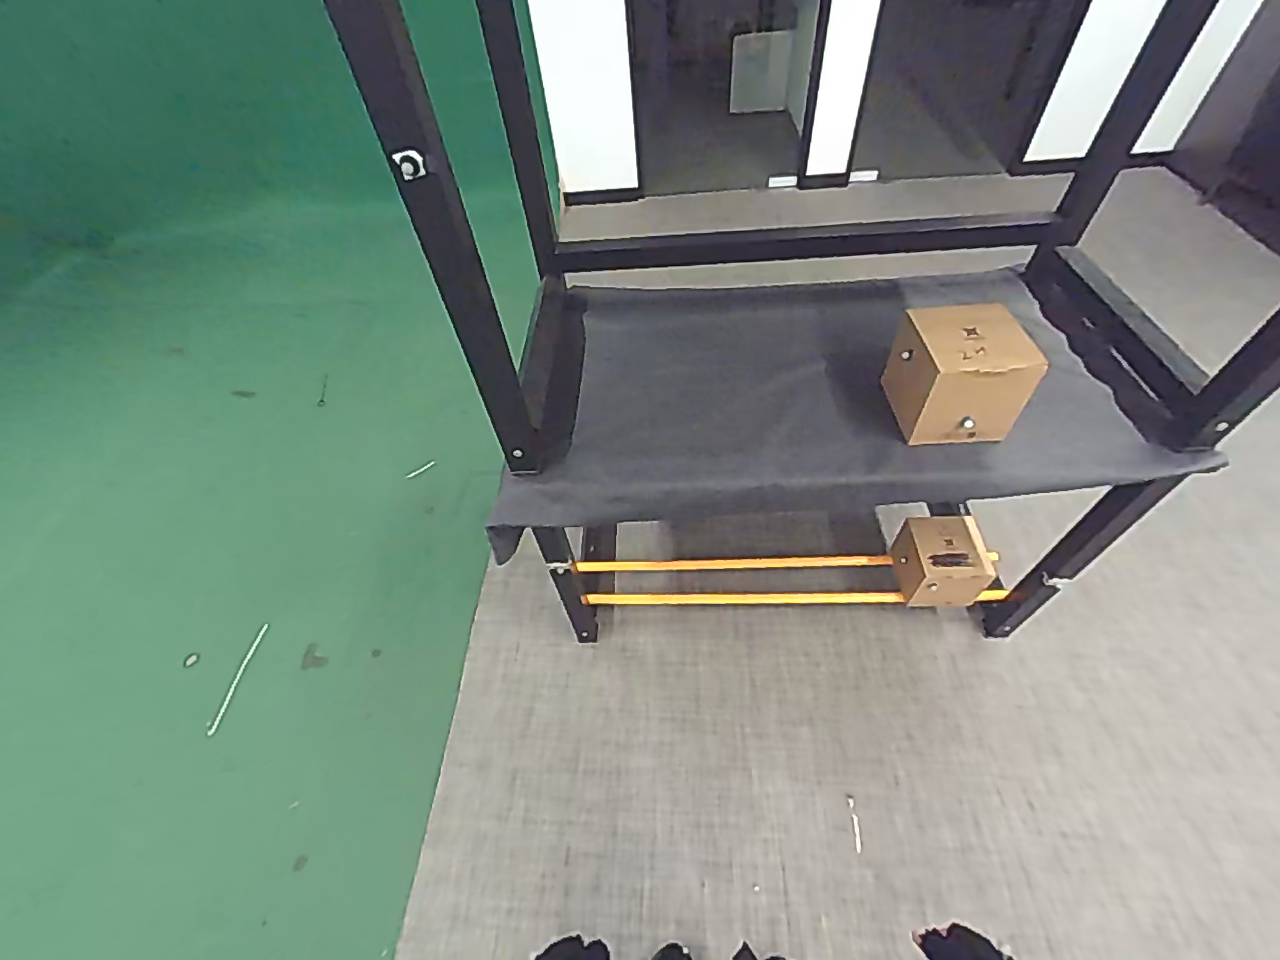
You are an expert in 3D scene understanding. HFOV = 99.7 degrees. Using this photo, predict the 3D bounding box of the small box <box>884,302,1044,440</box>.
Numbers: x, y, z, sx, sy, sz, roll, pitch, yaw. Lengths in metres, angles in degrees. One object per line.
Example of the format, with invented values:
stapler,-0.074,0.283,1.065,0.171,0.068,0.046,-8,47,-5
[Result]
small box,0.553,-0.191,0.956,0.168,0.176,0.179,-3,49,4
